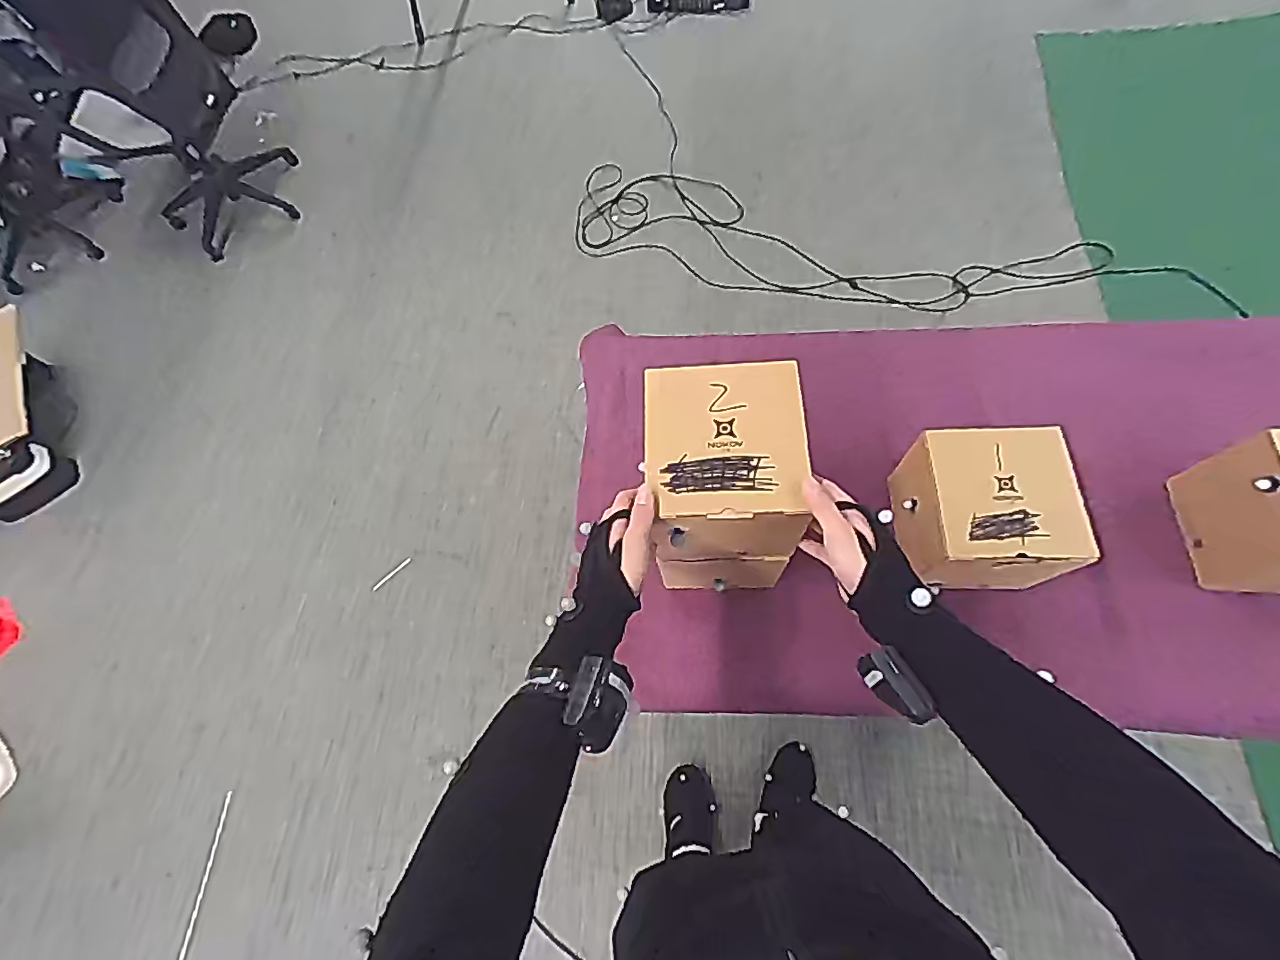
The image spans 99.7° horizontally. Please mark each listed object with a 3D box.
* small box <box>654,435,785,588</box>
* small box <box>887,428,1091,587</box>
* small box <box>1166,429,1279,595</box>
[{"bbox_3d":[0.110,0.051,0.778,0.168,0.176,0.179,-1,67,7],"label":"small box"},{"bbox_3d":[0.452,0.045,0.735,0.168,0.176,0.179,0,66,7],"label":"small box"},{"bbox_3d":[0.840,0.047,0.680,0.179,0.176,0.168,1,67,8],"label":"small box"}]
